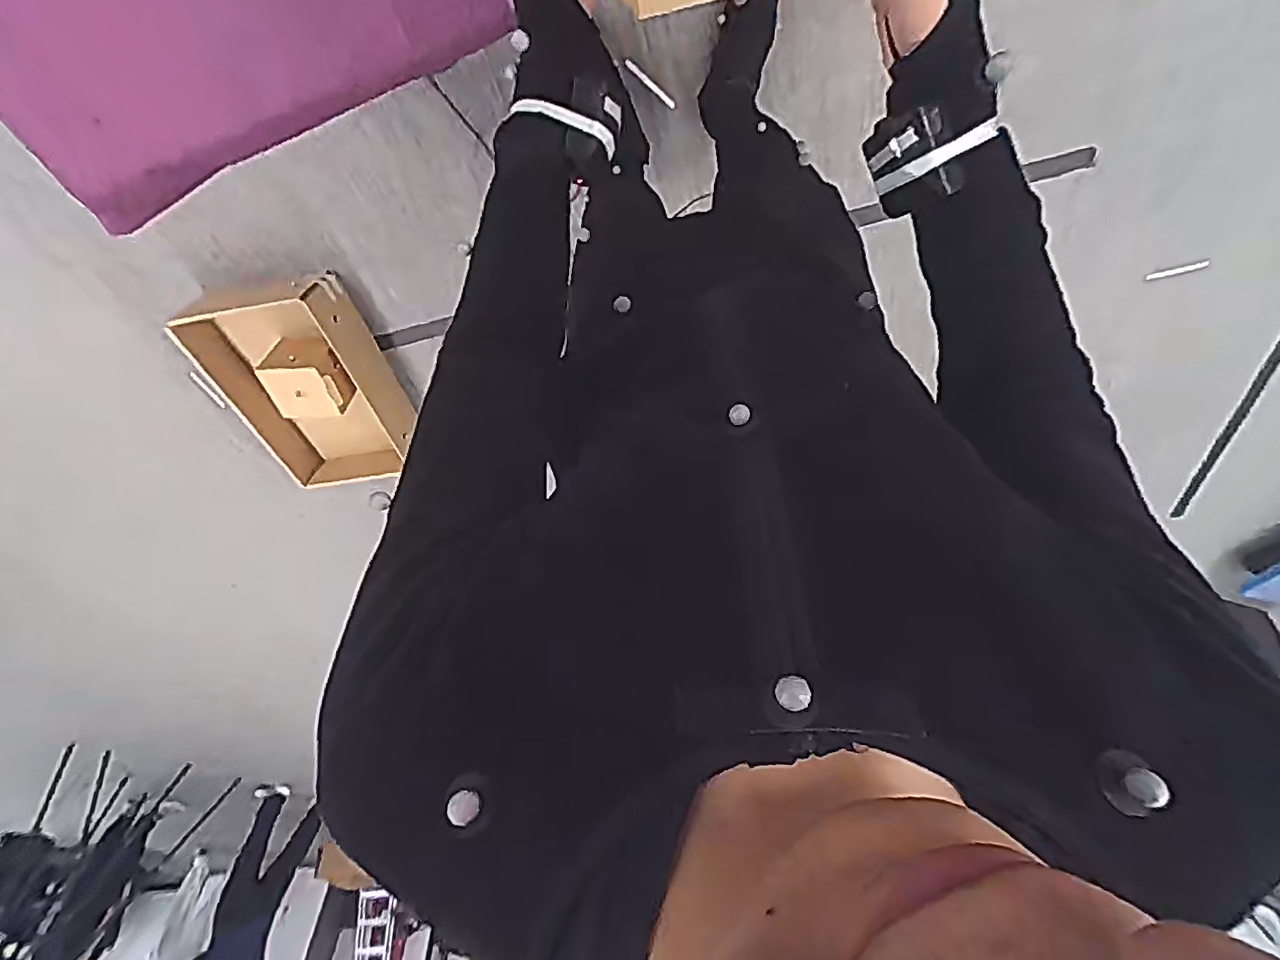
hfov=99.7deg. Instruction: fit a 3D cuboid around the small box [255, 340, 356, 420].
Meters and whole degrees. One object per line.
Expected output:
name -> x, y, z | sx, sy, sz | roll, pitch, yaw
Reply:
small box -> -0.949, -0.291, 1.560 | 0.179, 0.176, 0.168 | -2, 135, 0
